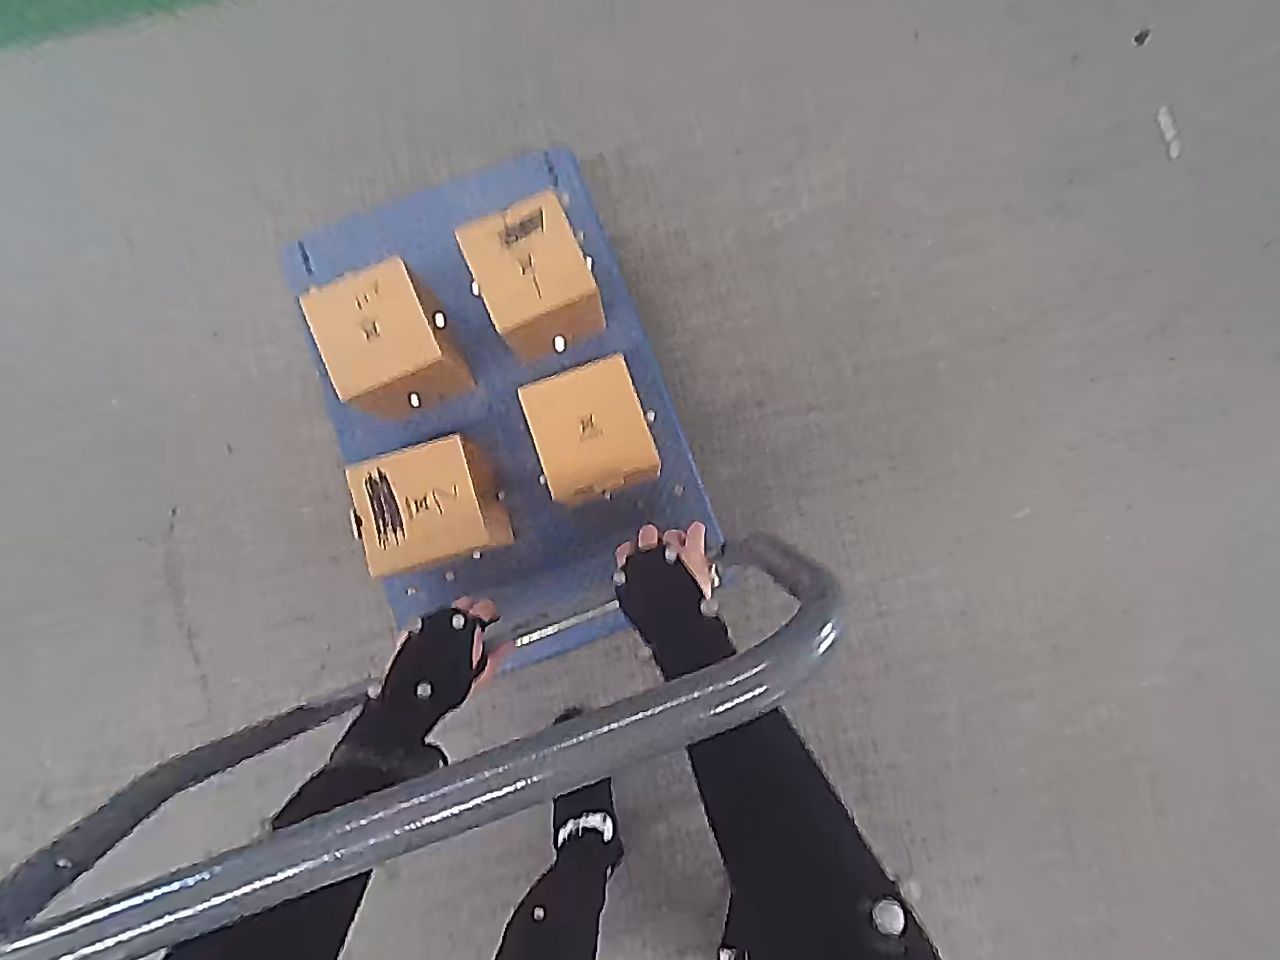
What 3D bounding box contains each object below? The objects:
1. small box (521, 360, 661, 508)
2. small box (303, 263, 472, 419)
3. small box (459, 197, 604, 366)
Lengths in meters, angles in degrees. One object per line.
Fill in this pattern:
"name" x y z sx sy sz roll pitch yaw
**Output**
"small box" -0.074 -0.064 0.868 0.168 0.176 0.179 -19 85 -2
"small box" -0.398 -0.212 0.886 0.168 0.176 0.179 -24 84 -3
"small box" -0.169 -0.316 0.893 0.168 0.176 0.179 -24 85 -1
